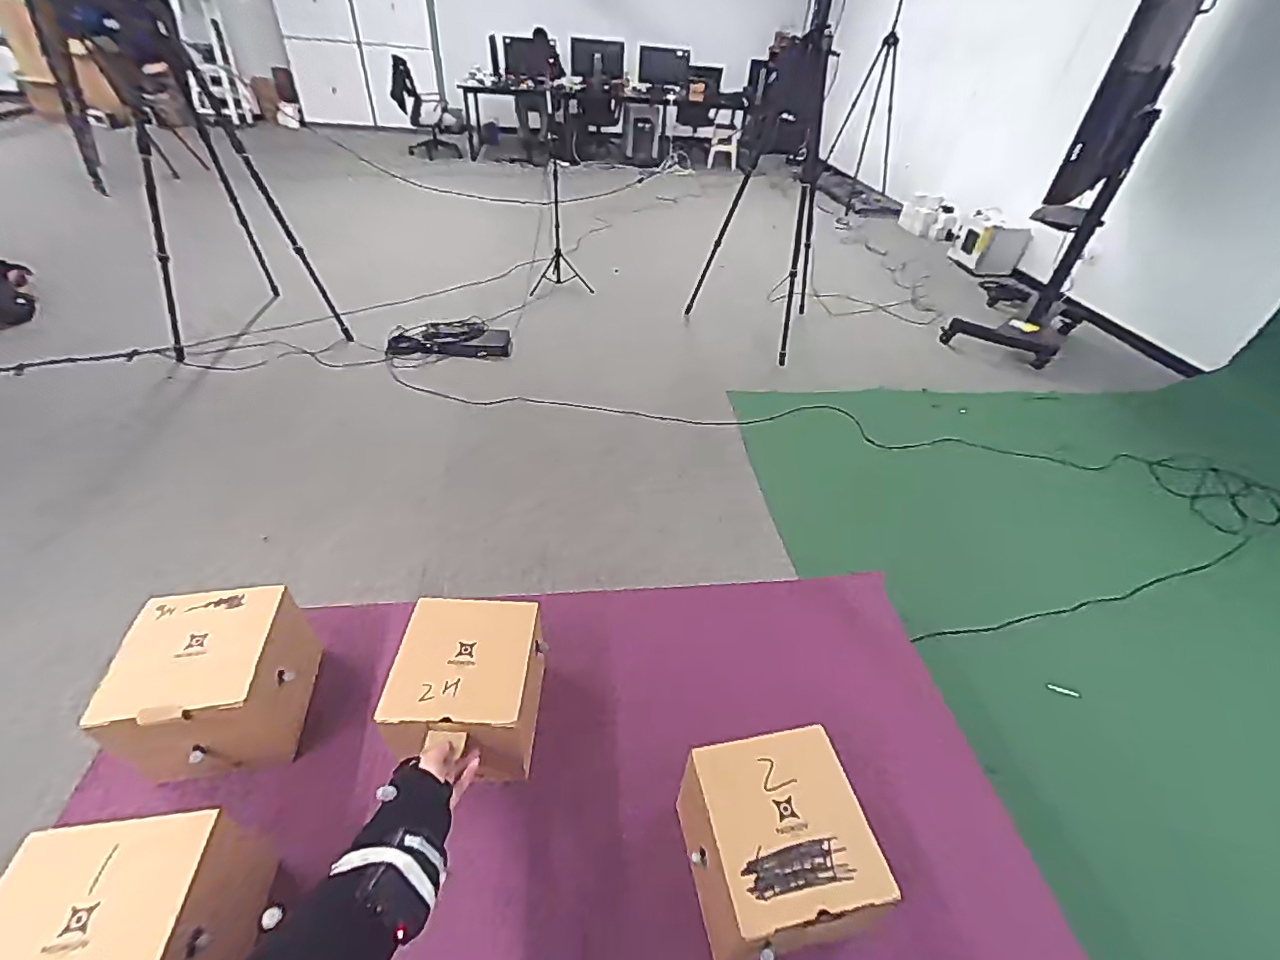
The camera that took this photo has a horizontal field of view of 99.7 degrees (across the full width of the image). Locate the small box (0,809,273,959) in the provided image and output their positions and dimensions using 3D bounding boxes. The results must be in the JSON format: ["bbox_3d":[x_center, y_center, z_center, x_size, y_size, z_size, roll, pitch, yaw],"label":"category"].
[{"bbox_3d":[-0.493,0.451,0.520,0.168,0.176,0.179,-2,40,-9],"label":"small box"}]

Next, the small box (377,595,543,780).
[{"bbox_3d":[-0.228,0.282,0.740,0.168,0.176,0.179,3,41,-2],"label":"small box"}]

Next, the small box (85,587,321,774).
[{"bbox_3d":[-0.554,0.271,0.723,0.168,0.176,0.179,-4,43,-11],"label":"small box"}]
